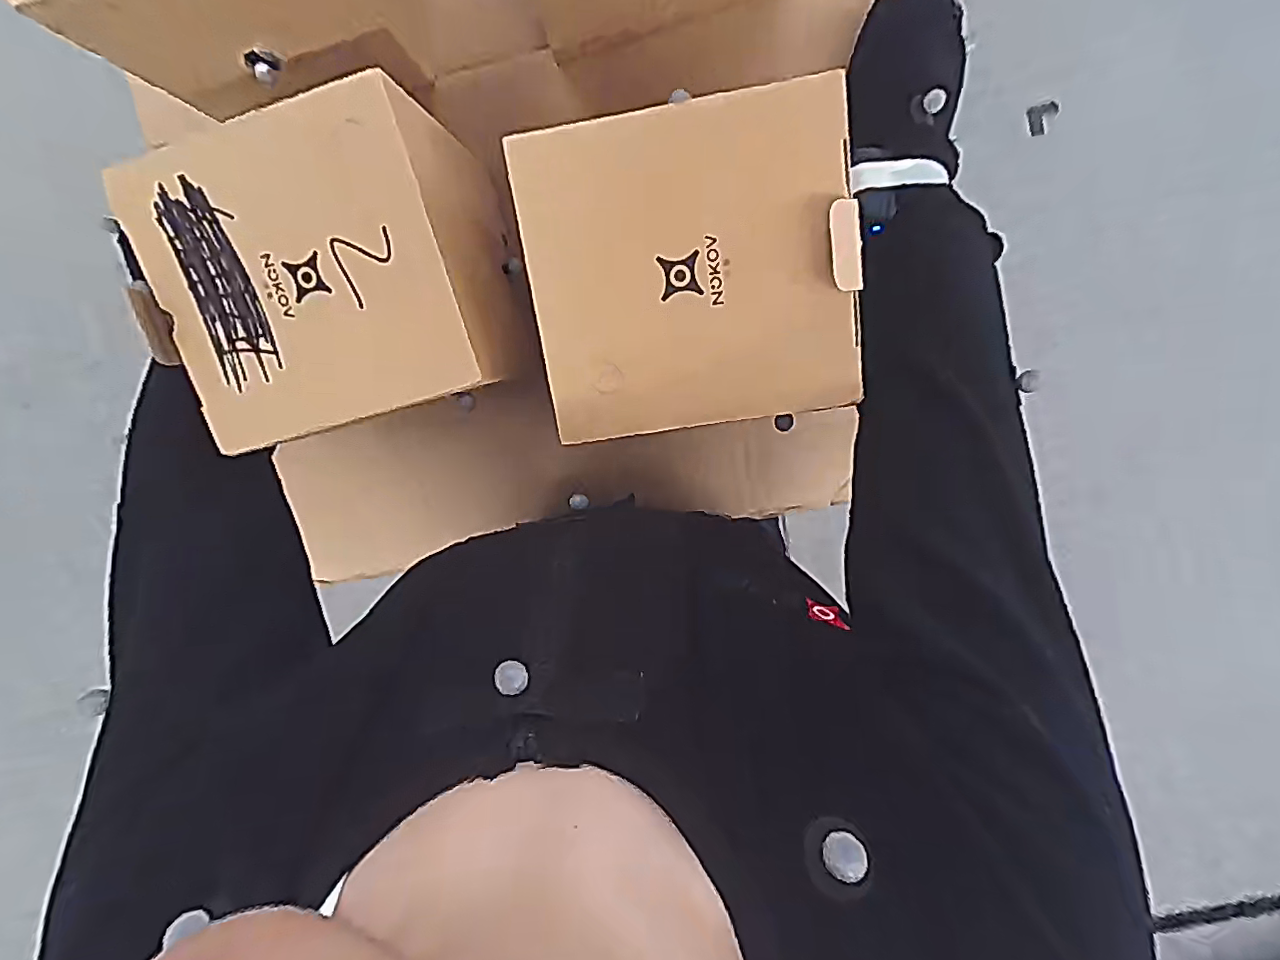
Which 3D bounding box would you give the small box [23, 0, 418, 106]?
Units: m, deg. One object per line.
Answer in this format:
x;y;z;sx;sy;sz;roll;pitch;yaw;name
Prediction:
-0.269;-0.373;0.341;0.168;0.176;0.179;-11;100;7;small box
